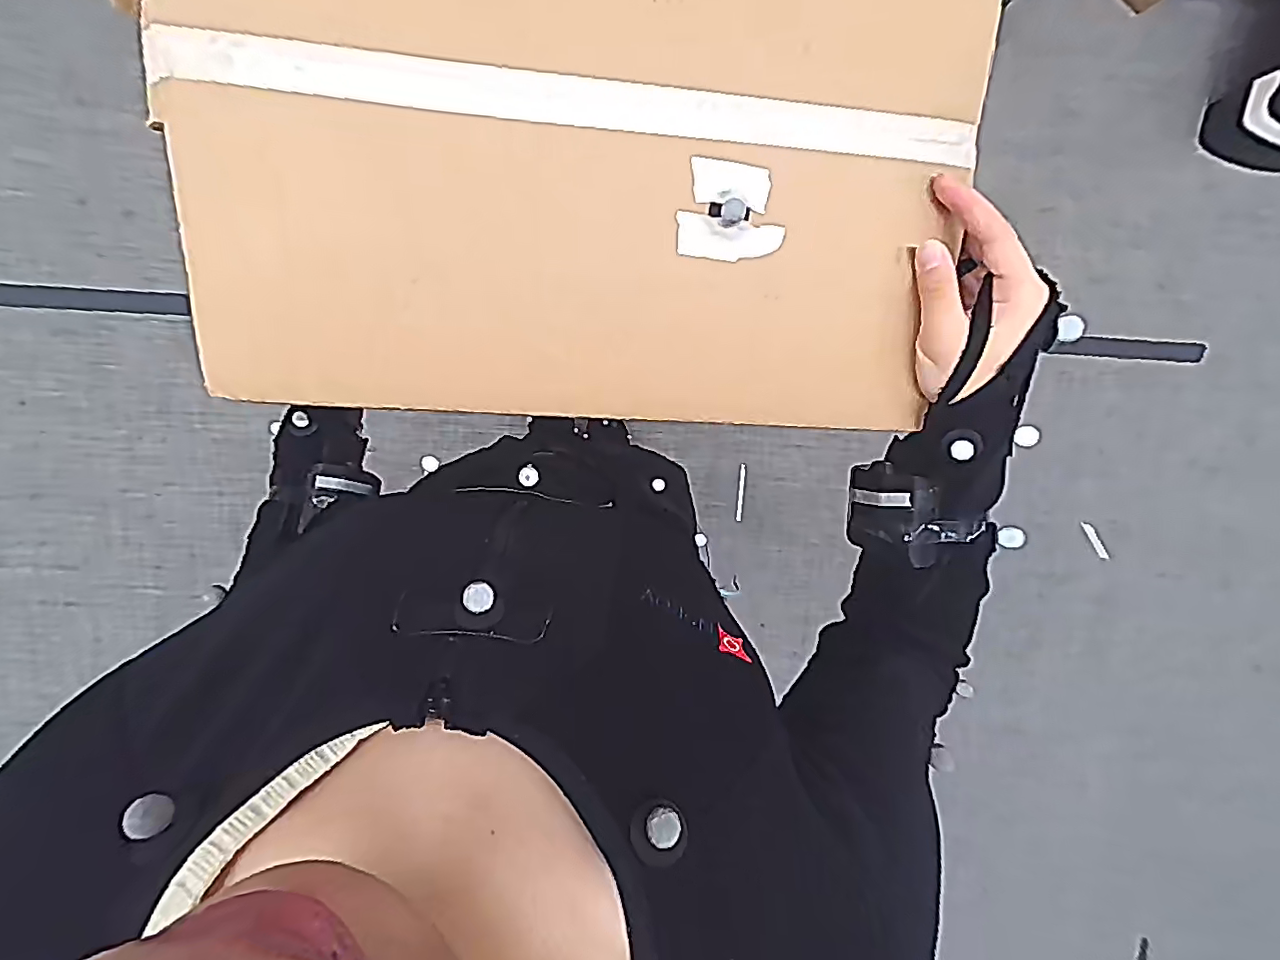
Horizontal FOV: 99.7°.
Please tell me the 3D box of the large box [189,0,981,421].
[{"bbox_3d":[-0.037,-0.223,0.429,0.408,0.320,0.320,1,104,-9],"label":"large box"}]
